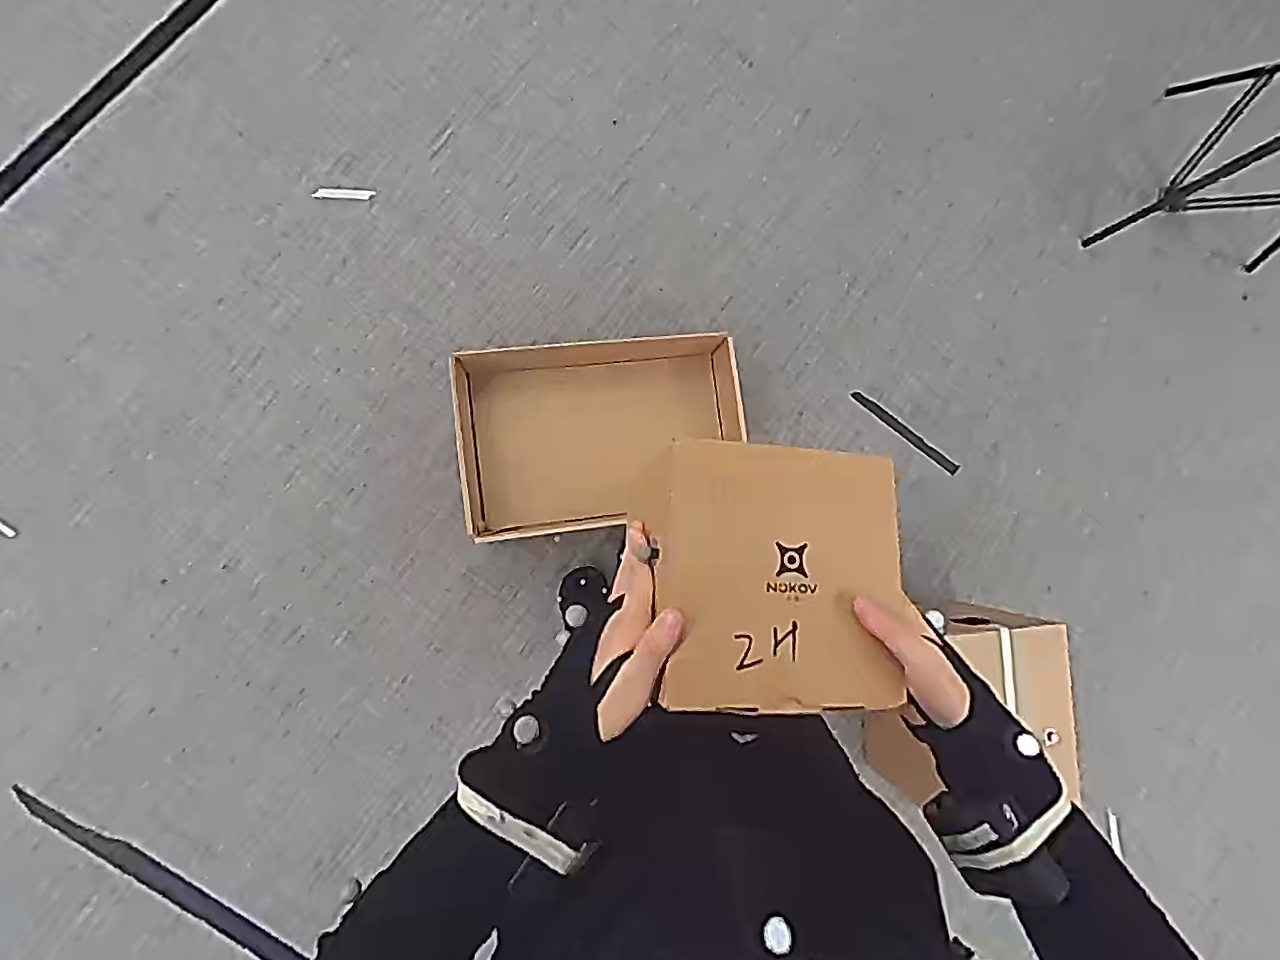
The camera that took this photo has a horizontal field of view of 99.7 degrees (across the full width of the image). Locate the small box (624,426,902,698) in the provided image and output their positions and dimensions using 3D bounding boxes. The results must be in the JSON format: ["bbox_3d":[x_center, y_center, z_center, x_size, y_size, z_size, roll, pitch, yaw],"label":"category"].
[{"bbox_3d":[0.083,0.070,0.440,0.168,0.176,0.179,4,78,-11],"label":"small box"}]
